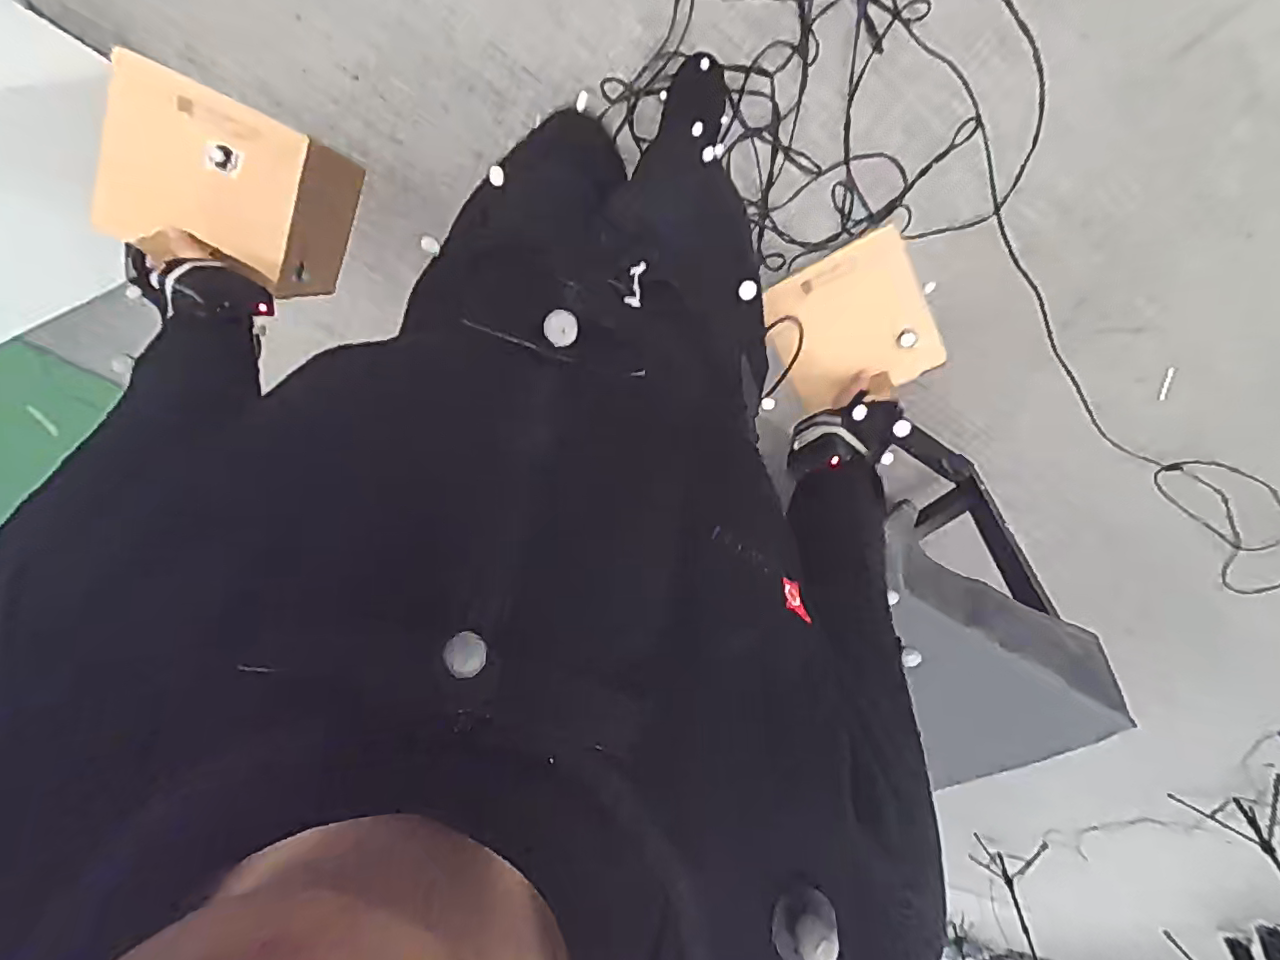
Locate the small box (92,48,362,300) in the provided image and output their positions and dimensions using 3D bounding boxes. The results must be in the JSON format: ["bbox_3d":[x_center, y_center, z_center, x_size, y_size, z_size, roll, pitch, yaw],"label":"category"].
[{"bbox_3d":[-0.432,-0.318,0.595,0.168,0.179,0.176,20,106,-16],"label":"small box"}]
